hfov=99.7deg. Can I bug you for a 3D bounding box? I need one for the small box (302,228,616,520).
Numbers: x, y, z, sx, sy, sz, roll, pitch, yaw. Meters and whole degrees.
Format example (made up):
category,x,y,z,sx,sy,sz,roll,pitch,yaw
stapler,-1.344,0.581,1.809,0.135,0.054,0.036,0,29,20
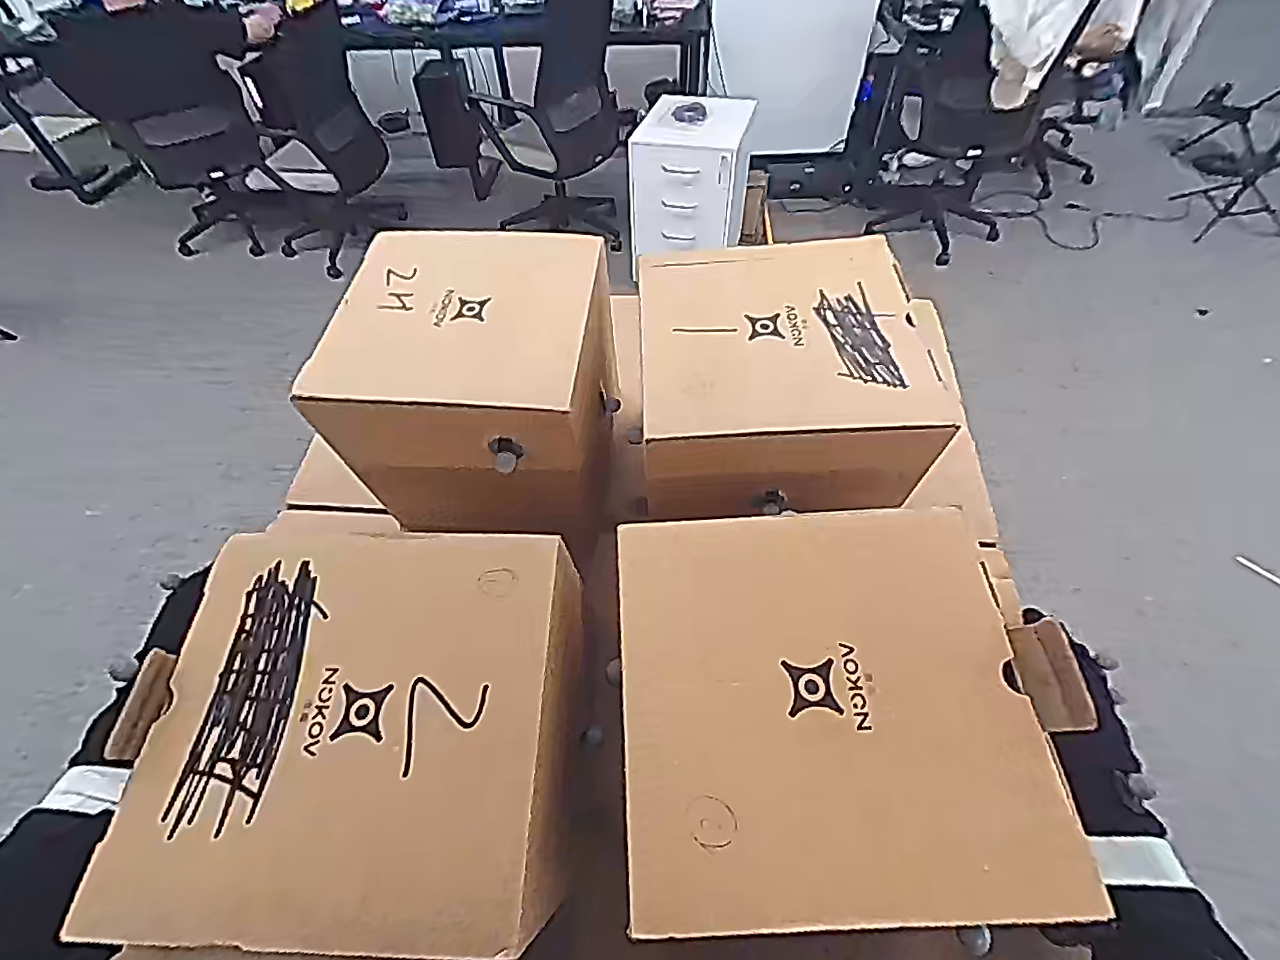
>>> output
category,x,y,z,sx,sy,sz,roll,pitch,yaw
small box,-0.118,-0.079,0.445,0.179,0.176,0.168,4,58,6
